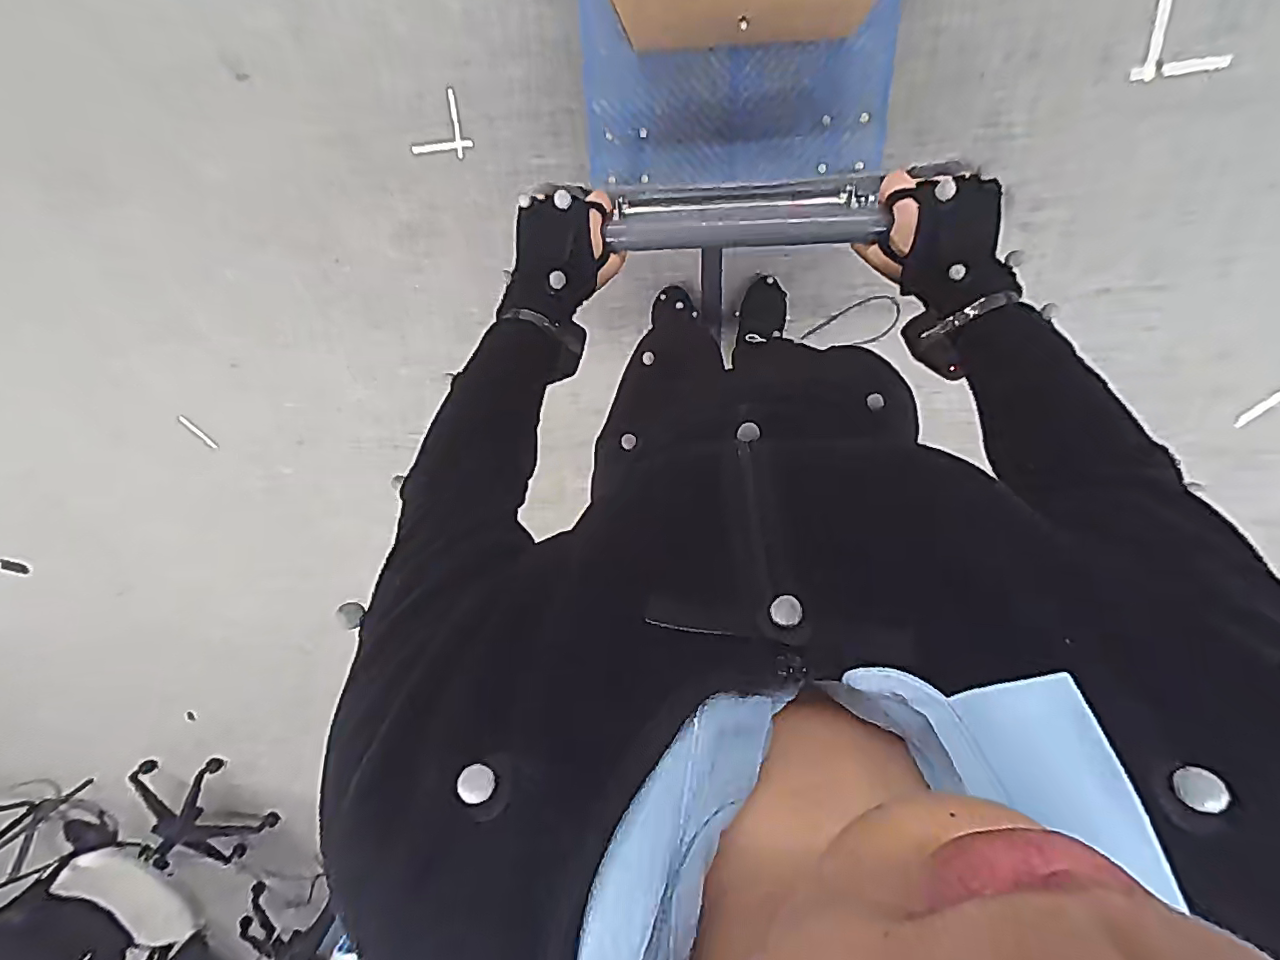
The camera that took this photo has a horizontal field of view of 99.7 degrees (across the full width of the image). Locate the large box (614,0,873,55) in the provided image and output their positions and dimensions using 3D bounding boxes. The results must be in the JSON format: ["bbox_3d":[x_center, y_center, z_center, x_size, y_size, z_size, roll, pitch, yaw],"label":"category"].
[{"bbox_3d":[0.168,-0.899,0.830,0.408,0.320,0.320,2,113,9],"label":"large box"}]
